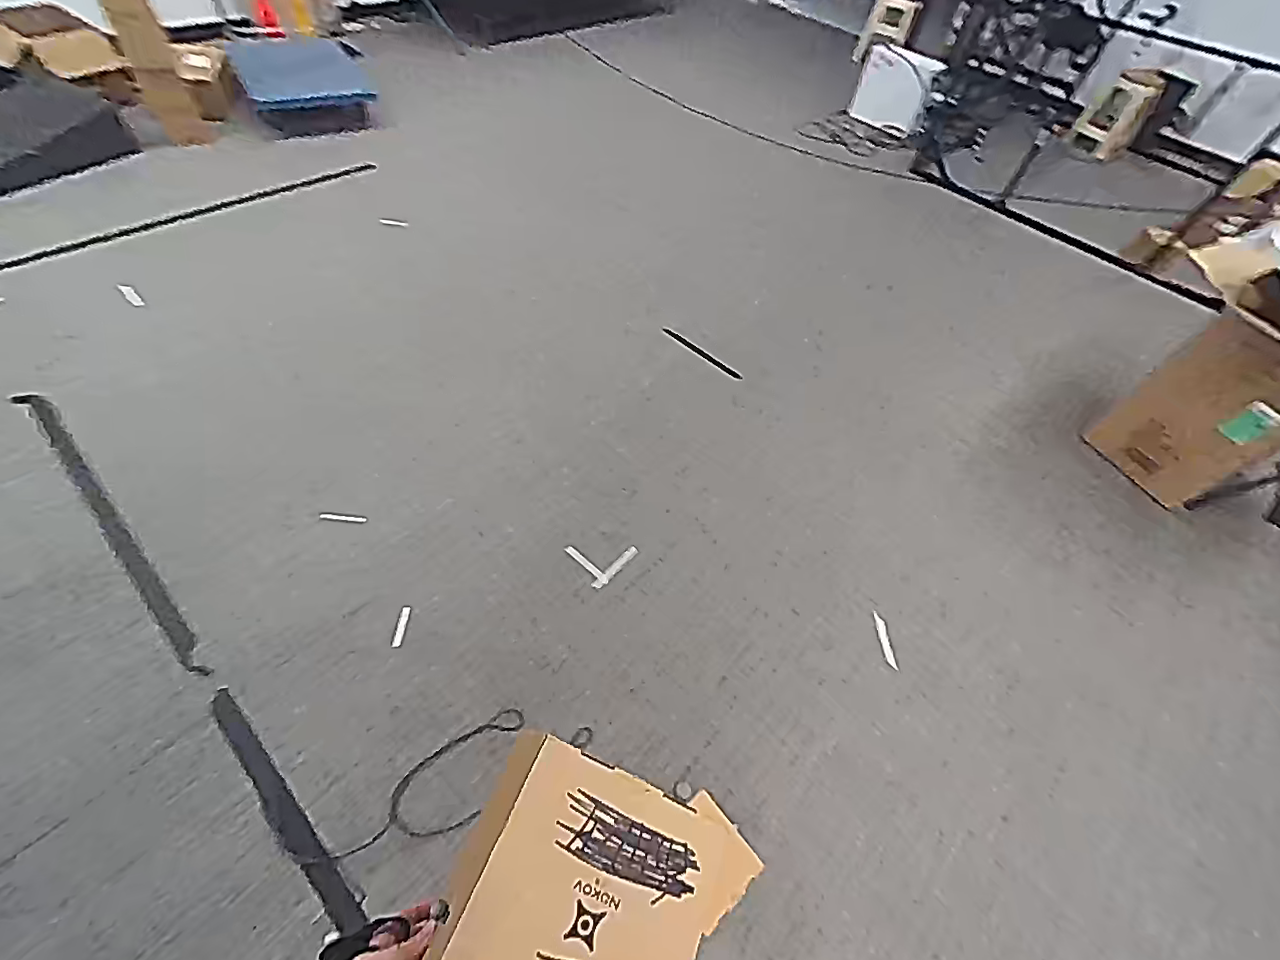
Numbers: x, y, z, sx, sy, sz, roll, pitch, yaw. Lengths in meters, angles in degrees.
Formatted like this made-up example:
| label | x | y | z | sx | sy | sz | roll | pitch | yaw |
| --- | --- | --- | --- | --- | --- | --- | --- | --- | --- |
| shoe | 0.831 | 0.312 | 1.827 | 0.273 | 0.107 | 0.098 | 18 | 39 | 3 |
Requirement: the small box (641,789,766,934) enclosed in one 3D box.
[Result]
| label | x | y | z | sx | sy | sz | roll | pitch | yaw |
| --- | --- | --- | --- | --- | --- | --- | --- | --- | --- |
| small box | 0.119 | 0.778 | 1.105 | 0.168 | 0.176 | 0.179 | -32 | 64 | -28 |
